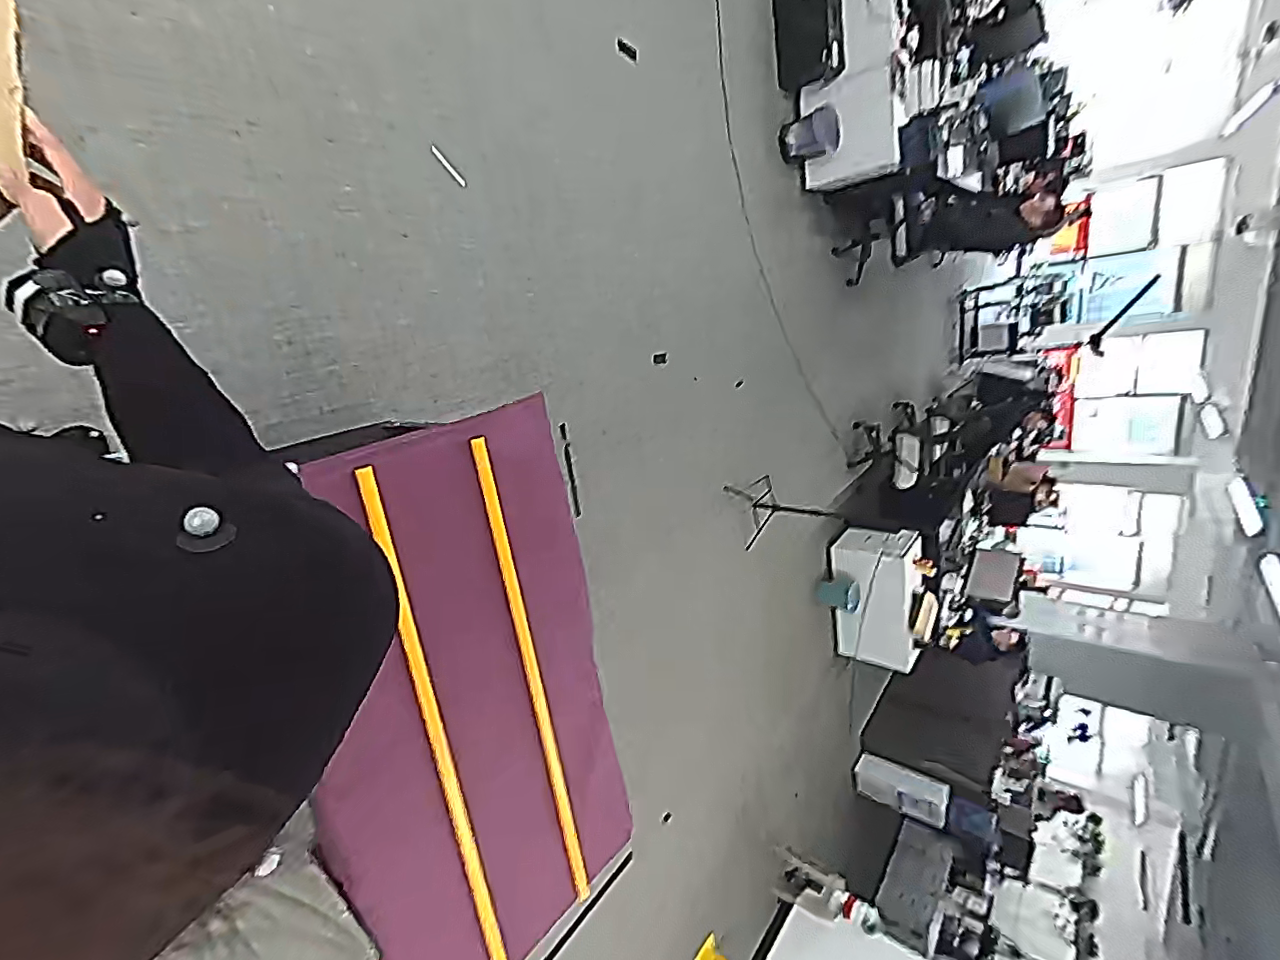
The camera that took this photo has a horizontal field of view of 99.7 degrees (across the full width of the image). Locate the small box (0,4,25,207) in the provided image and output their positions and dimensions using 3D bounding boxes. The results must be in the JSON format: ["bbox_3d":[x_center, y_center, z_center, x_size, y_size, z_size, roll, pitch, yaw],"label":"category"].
[{"bbox_3d":[-0.669,-0.336,0.451,0.179,0.176,0.168,-8,102,-57],"label":"small box"}]
